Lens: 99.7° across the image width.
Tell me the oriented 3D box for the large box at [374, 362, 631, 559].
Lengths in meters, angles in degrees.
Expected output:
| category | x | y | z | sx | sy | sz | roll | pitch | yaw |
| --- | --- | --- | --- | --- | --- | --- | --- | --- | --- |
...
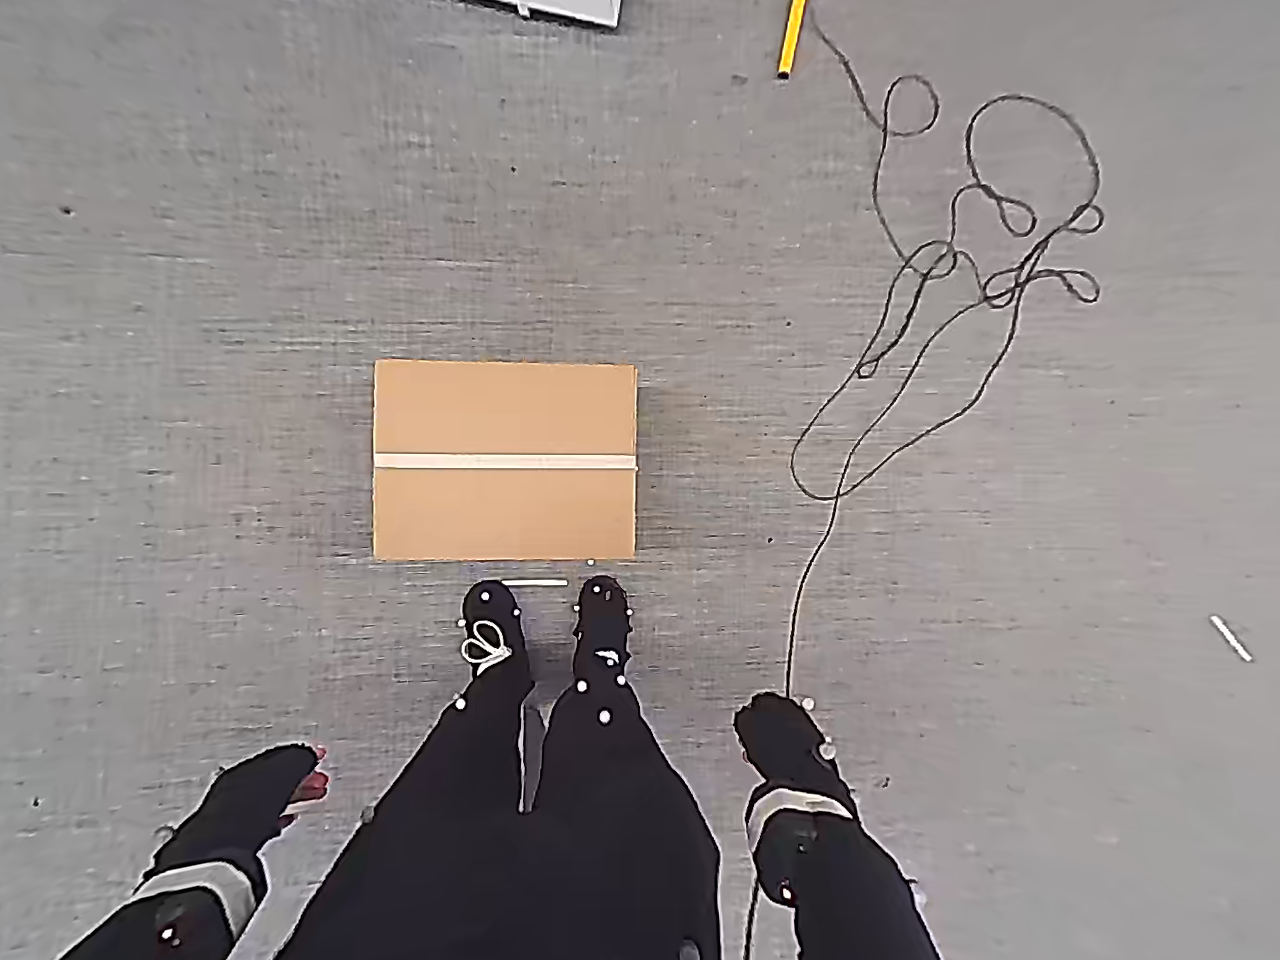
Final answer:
| category | x | y | z | sx | sy | sz | roll | pitch | yaw |
| --- | --- | --- | --- | --- | --- | --- | --- | --- | --- |
| large box | -0.224 | -0.031 | 1.002 | 0.408 | 0.320 | 0.320 | 1 | 89 | -5 |
